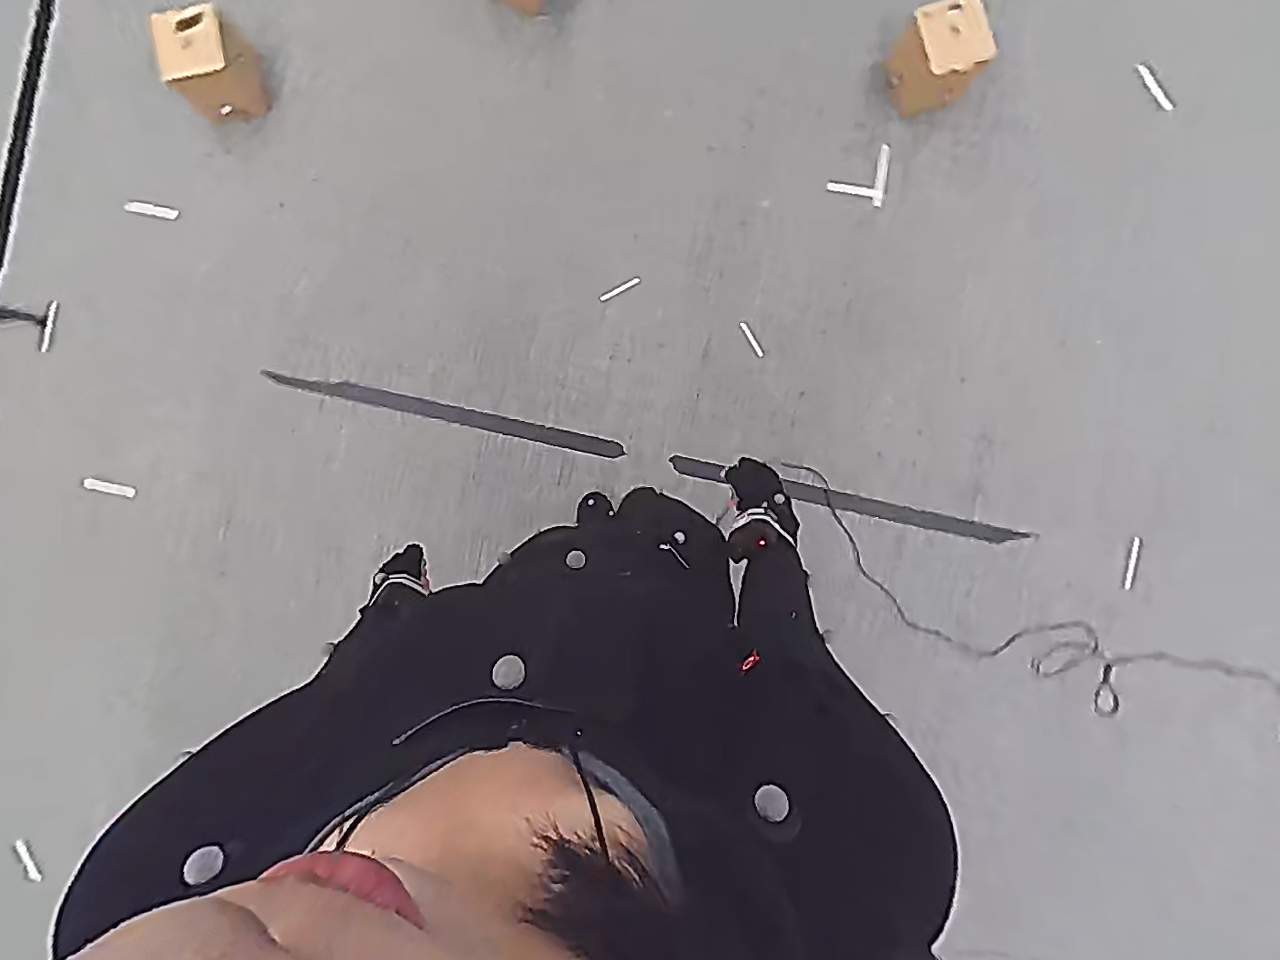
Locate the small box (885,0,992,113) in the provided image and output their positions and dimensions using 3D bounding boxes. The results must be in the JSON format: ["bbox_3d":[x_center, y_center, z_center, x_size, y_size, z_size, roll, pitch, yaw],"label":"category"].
[{"bbox_3d":[0.782,-1.115,1.434,0.168,0.176,0.179,-17,90,1],"label":"small box"}]

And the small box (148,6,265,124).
[{"bbox_3d":[-1.157,-1.108,1.455,0.168,0.176,0.179,-11,90,1],"label":"small box"}]

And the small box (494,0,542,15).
[{"bbox_3d":[-0.340,-1.416,1.454,0.179,0.176,0.168,24,88,2],"label":"small box"}]
